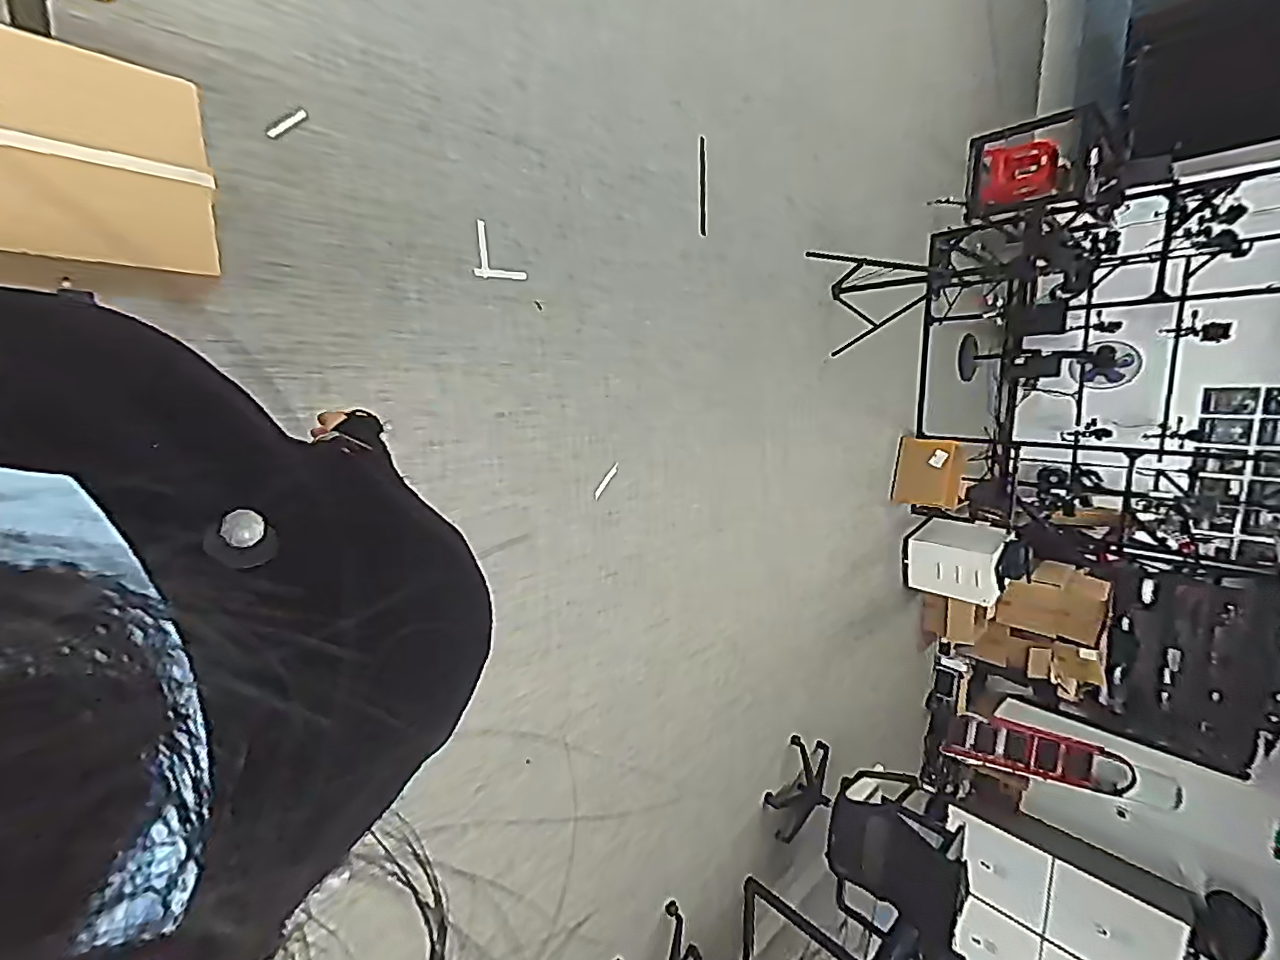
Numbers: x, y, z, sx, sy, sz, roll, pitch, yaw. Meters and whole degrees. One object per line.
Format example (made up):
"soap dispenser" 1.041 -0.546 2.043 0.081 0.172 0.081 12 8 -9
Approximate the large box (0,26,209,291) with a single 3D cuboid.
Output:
"large box" -1.003 -0.510 0.896 0.408 0.320 0.320 -9 101 -43
